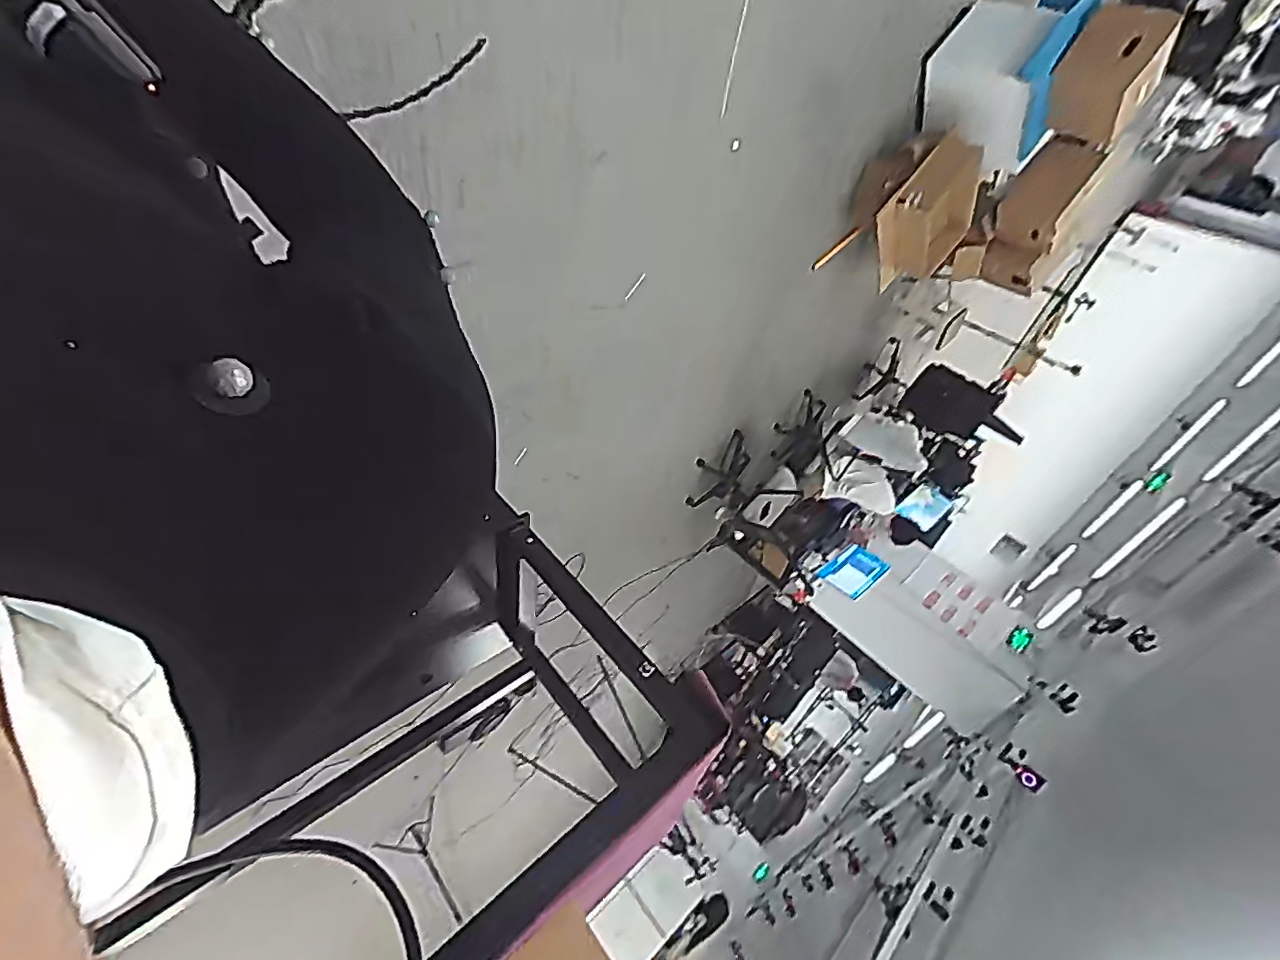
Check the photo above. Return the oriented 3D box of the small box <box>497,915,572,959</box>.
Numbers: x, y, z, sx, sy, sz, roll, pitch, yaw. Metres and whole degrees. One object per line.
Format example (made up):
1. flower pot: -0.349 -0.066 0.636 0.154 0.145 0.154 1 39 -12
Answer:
1. small box: -0.194 0.885 0.895 0.179 0.176 0.168 -23 144 -41
